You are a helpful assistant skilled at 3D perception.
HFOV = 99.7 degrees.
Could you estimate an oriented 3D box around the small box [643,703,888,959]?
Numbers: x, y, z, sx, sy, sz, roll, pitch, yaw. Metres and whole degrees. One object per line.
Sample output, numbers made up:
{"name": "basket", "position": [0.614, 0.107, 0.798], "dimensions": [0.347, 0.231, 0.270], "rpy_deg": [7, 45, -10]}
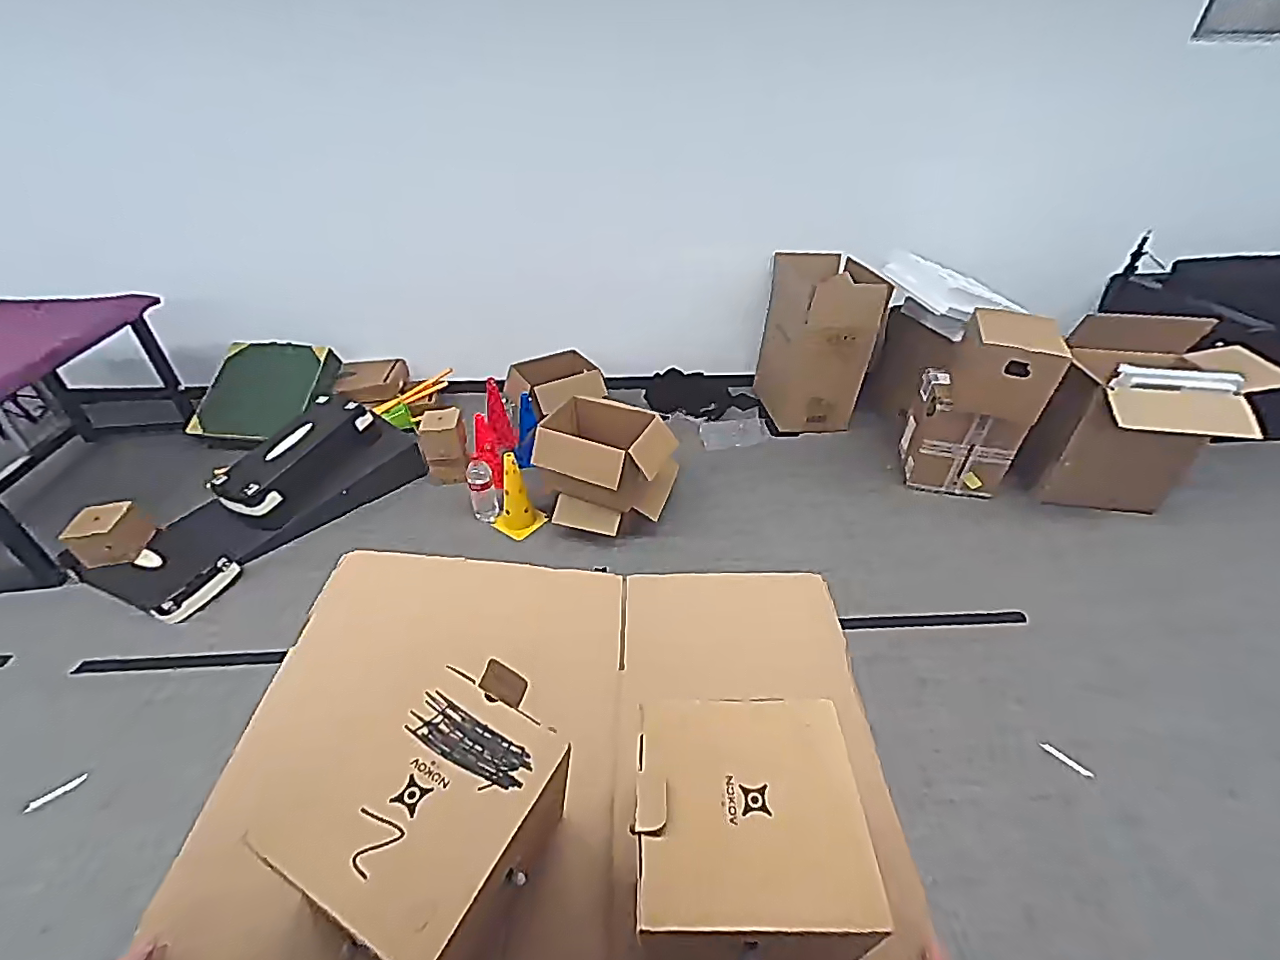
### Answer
{"name": "small box", "position": [0.093, 0.322, 0.493], "dimensions": [0.179, 0.176, 0.168], "rpy_deg": [-2, 41, 2]}
